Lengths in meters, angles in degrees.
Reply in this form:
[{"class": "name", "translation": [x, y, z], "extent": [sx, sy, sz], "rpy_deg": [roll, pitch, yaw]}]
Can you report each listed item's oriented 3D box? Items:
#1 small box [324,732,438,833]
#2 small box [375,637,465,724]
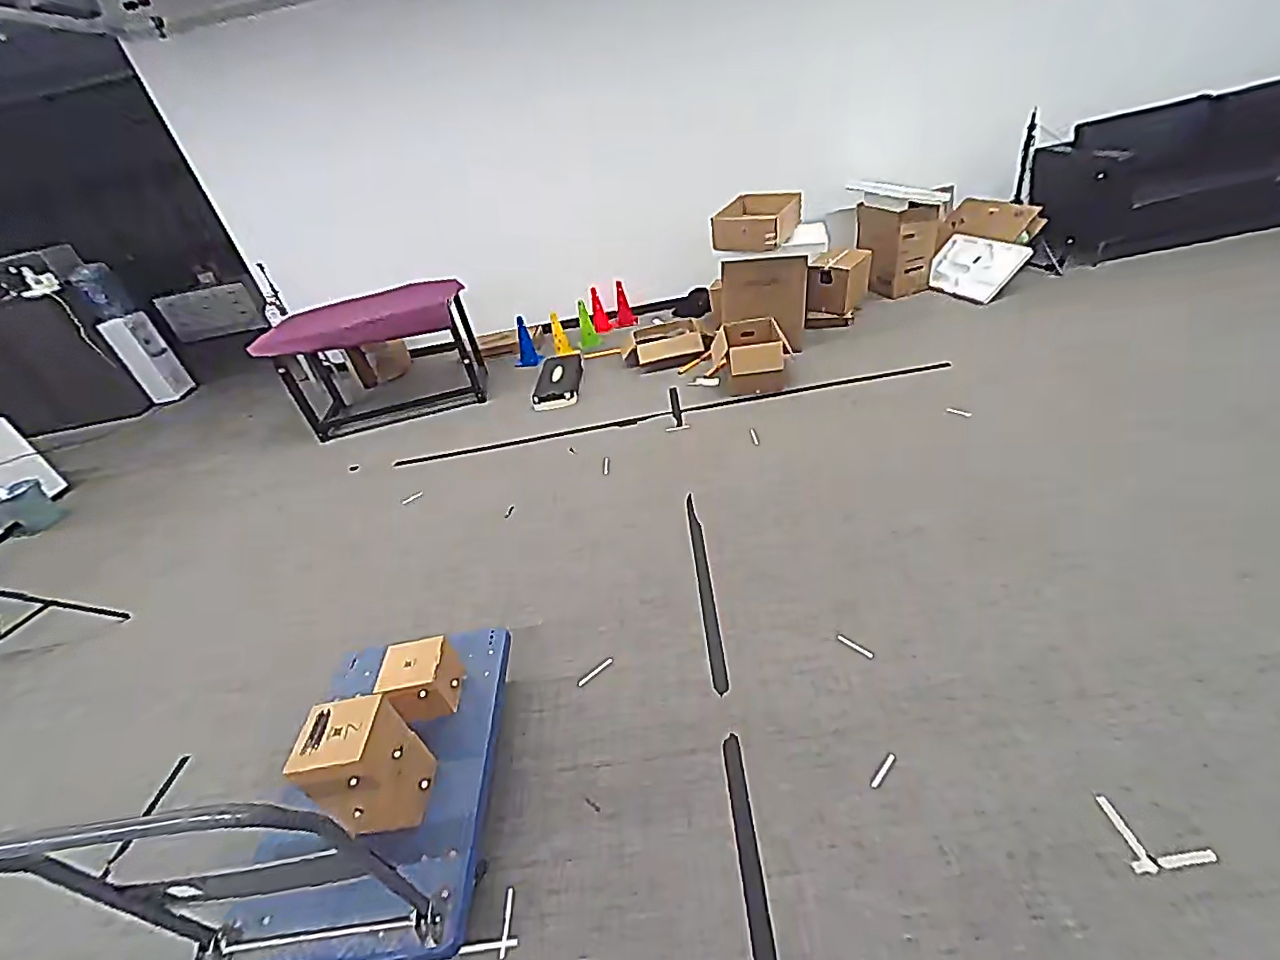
[{"class": "small box", "translation": [-0.642, 0.765, 1.364], "extent": [0.179, 0.176, 0.168], "rpy_deg": [-8, 35, 5]}, {"class": "small box", "translation": [-0.646, 0.599, 1.607], "extent": [0.179, 0.176, 0.168], "rpy_deg": [-12, 35, 0]}]
